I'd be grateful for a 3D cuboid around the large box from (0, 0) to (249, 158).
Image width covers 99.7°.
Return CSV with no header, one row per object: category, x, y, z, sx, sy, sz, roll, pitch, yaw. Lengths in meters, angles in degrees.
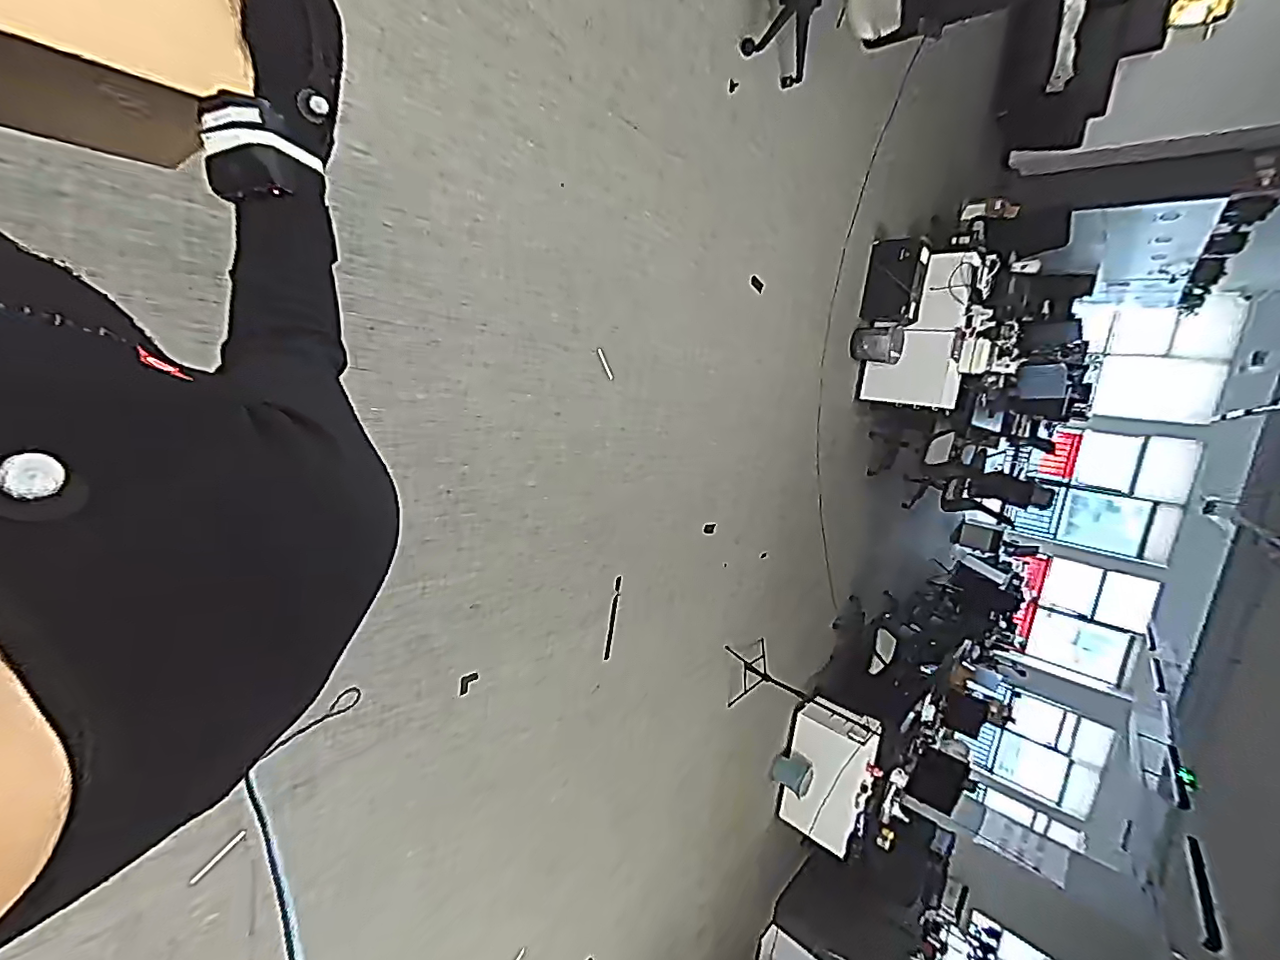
large box,-0.536,-0.450,0.335,0.408,0.320,0.320,-9,111,-49
